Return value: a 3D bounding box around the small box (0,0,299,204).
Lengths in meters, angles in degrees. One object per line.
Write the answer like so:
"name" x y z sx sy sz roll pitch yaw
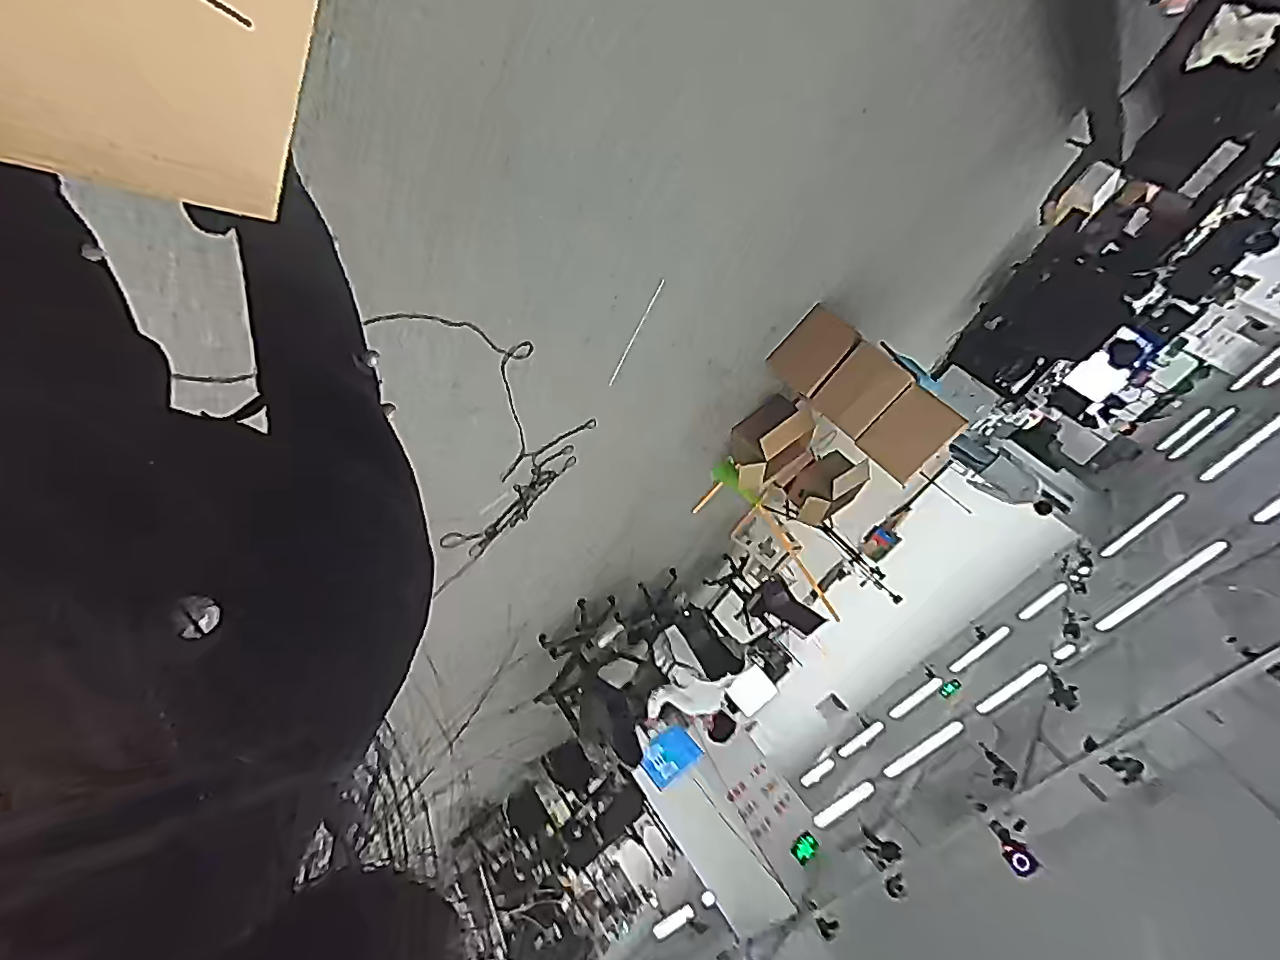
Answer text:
"small box" -0.245 -0.240 0.189 0.179 0.176 0.168 -11 147 -51
